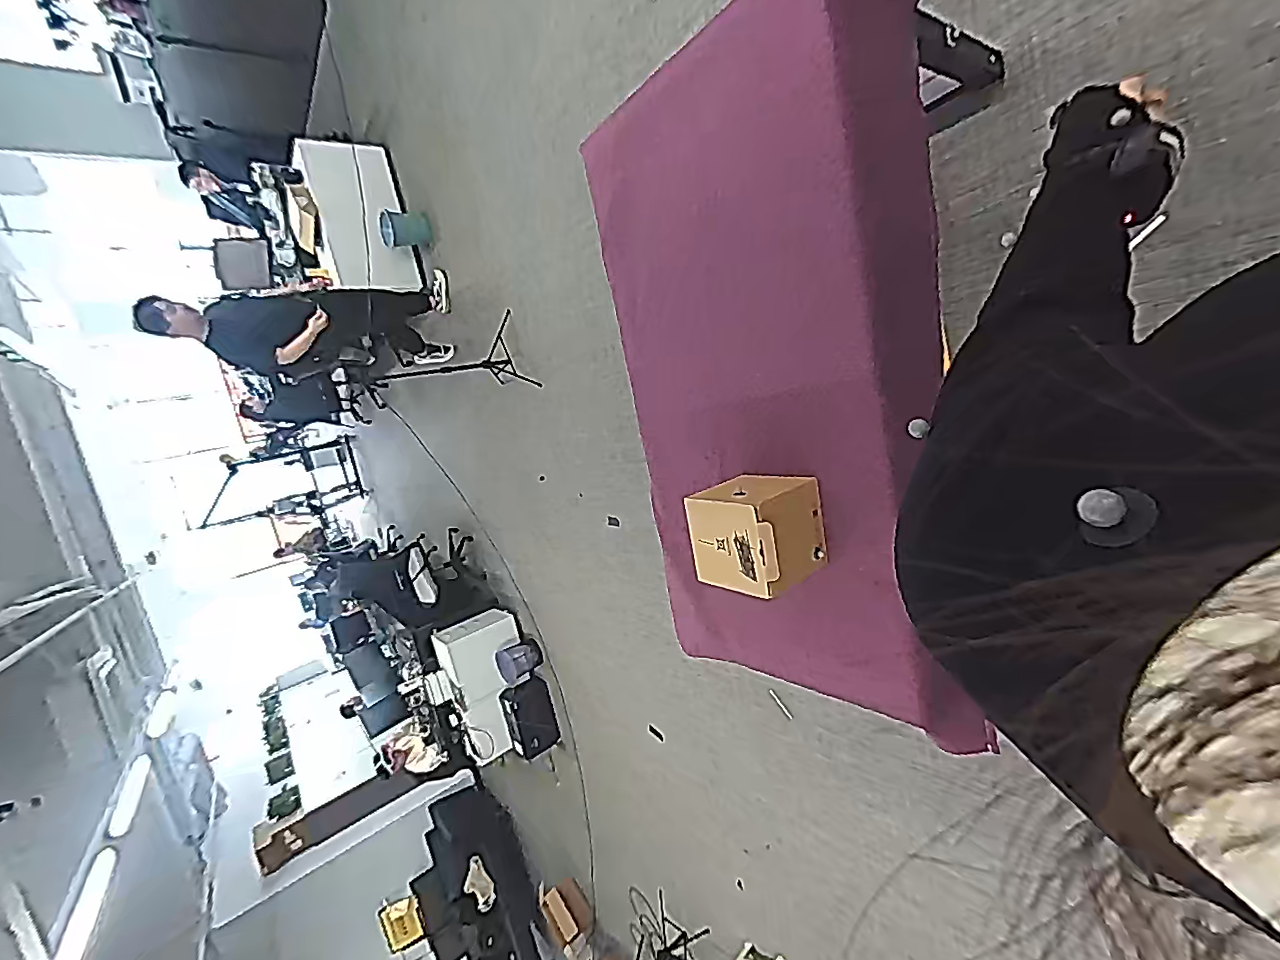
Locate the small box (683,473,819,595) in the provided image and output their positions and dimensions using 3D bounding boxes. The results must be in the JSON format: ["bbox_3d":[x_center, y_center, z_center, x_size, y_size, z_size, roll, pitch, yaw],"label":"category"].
[{"bbox_3d":[0.207,0.087,0.984,0.179,0.176,0.168,4,108,53],"label":"small box"}]
